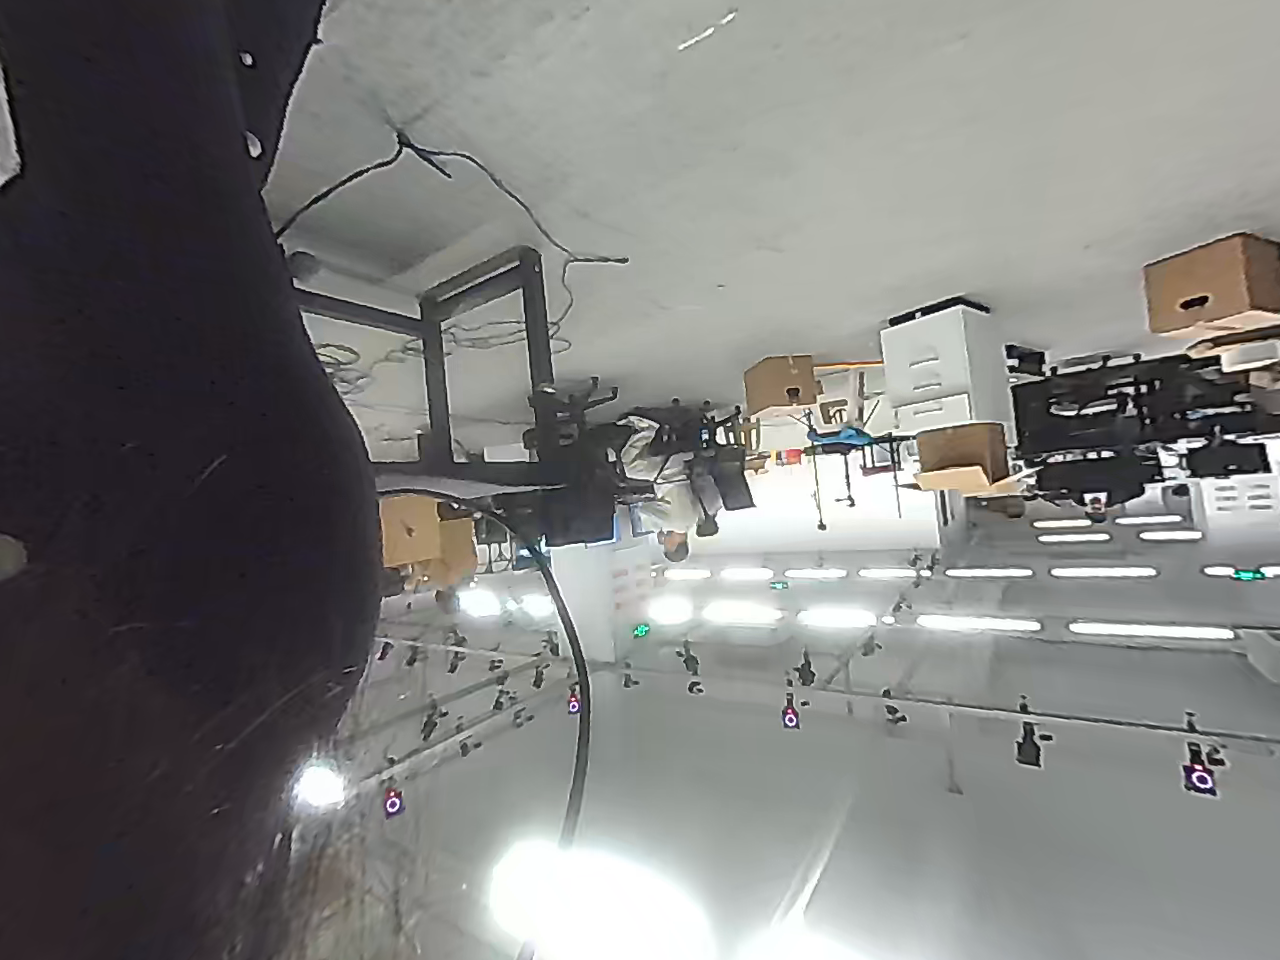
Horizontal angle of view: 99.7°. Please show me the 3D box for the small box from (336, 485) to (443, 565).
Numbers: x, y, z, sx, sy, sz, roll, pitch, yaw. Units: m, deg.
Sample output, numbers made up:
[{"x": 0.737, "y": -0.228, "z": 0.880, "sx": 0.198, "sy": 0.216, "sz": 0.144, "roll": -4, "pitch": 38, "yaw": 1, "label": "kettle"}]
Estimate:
[{"x": -0.605, "y": 0.107, "z": 1.302, "sx": 0.168, "sy": 0.176, "sz": 0.179, "roll": -5, "pitch": -179, "yaw": 32, "label": "small box"}]
